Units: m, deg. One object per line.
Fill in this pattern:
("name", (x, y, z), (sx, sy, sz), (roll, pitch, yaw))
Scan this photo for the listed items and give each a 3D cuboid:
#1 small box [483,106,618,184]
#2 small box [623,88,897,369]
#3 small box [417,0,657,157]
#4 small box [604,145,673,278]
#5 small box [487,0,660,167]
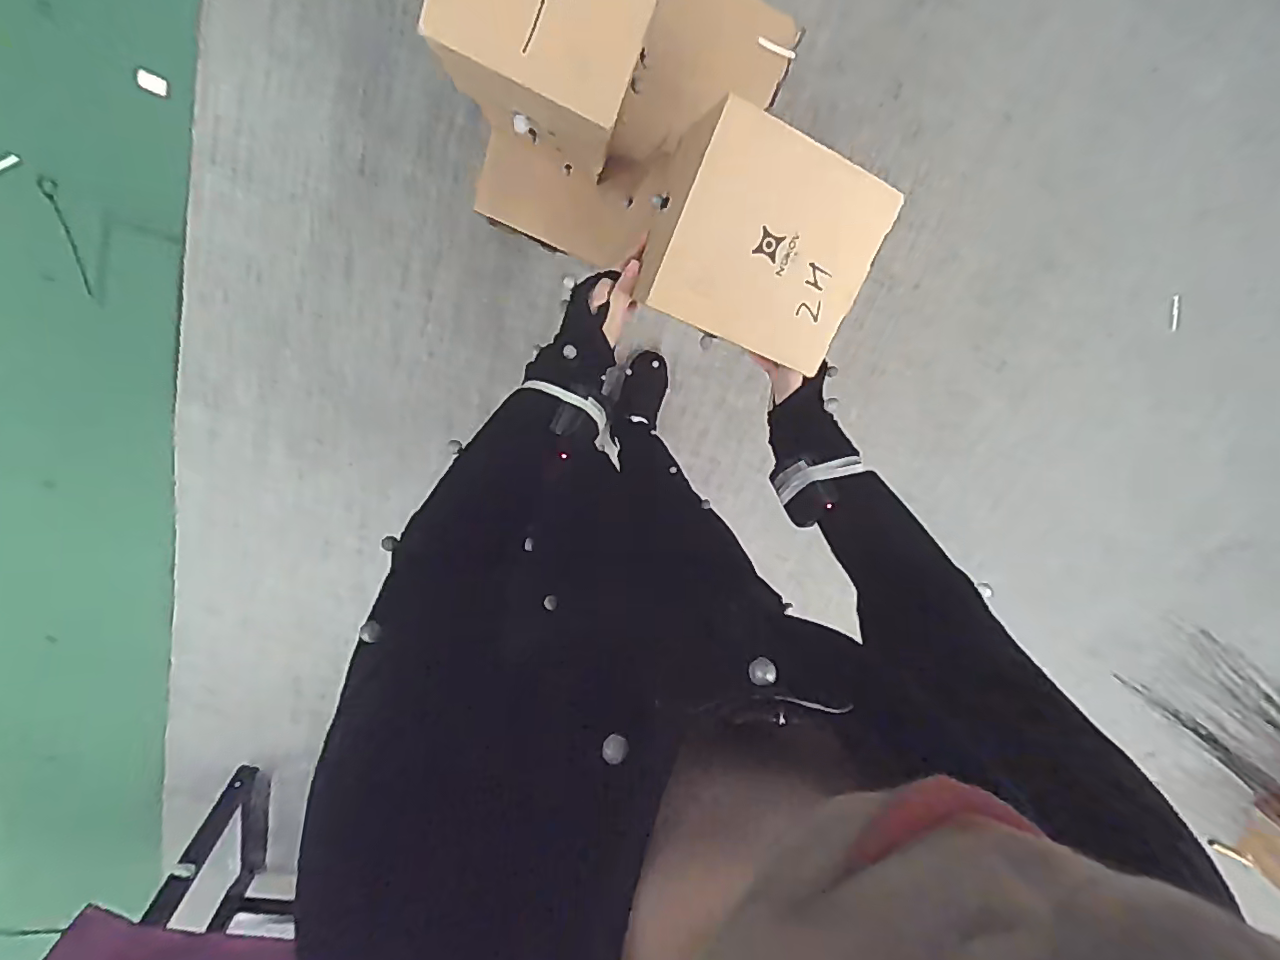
("small box", (-0.111, -0.561, 0.787), (0.168, 0.176, 0.179), (20, 107, -13))
("small box", (0.095, -0.227, 0.525), (0.179, 0.176, 0.168), (19, 108, -16))
("small box", (-0.077, -0.429, 0.489), (0.168, 0.176, 0.179), (20, 109, -13))
("small box", (0.047, -0.393, 0.869), (0.168, 0.176, 0.179), (21, 107, -14))
("small box", (-0.089, -0.501, 0.636), (0.168, 0.176, 0.179), (20, 110, -14))
